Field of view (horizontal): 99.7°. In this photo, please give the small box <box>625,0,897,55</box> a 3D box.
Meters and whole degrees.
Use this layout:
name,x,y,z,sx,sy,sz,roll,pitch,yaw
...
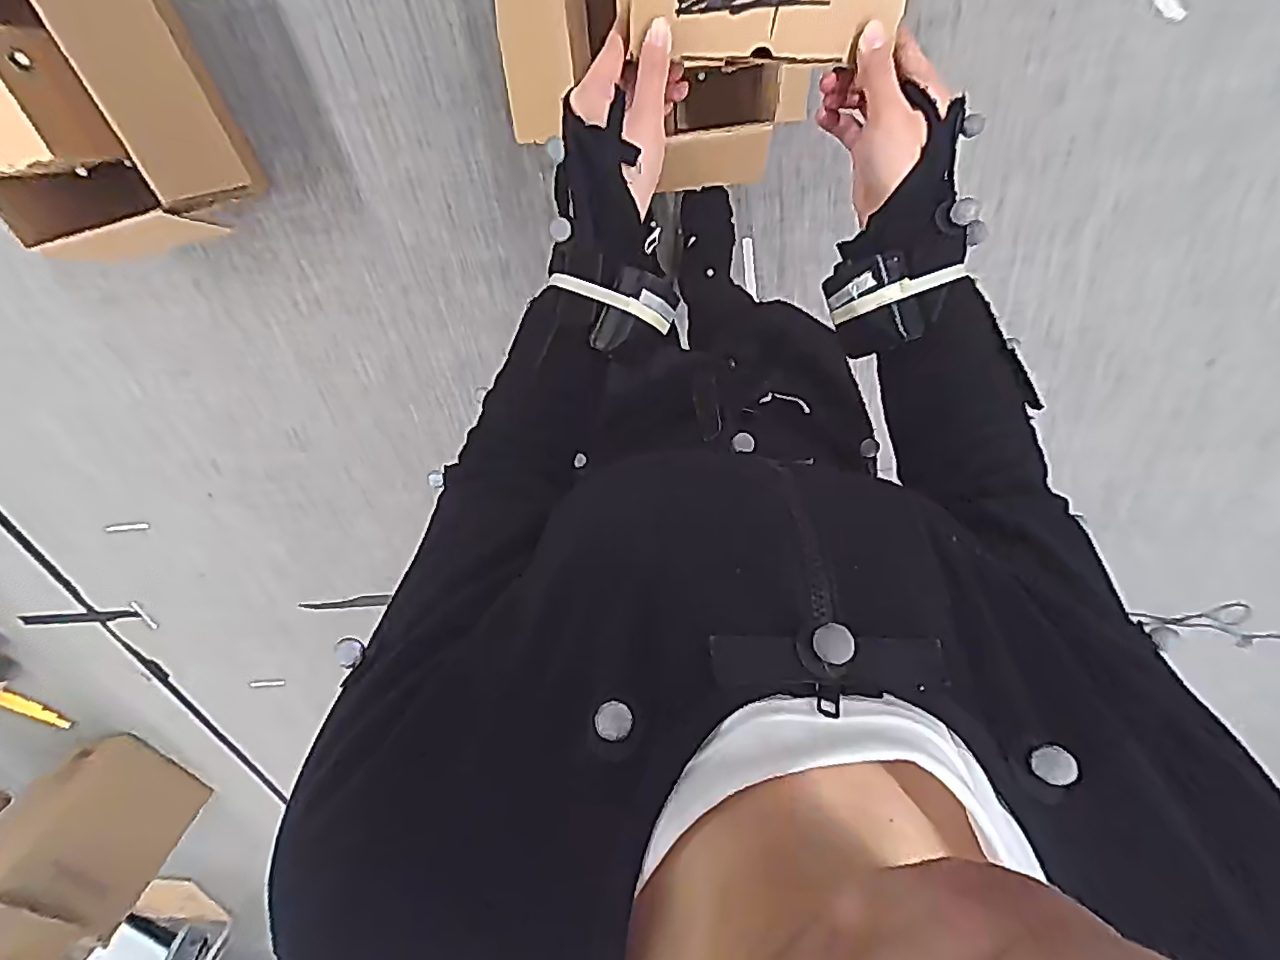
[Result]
name,x,y,z,sx,sy,sz,roll,pitch,yaw
small box,0.076,-0.387,0.345,0.168,0.176,0.179,1,129,0

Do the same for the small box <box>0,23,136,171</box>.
name,x,y,z,sx,sy,sz,roll,pitch,yaw
small box,-1.010,-0.620,0.885,0.168,0.176,0.179,-7,123,9
